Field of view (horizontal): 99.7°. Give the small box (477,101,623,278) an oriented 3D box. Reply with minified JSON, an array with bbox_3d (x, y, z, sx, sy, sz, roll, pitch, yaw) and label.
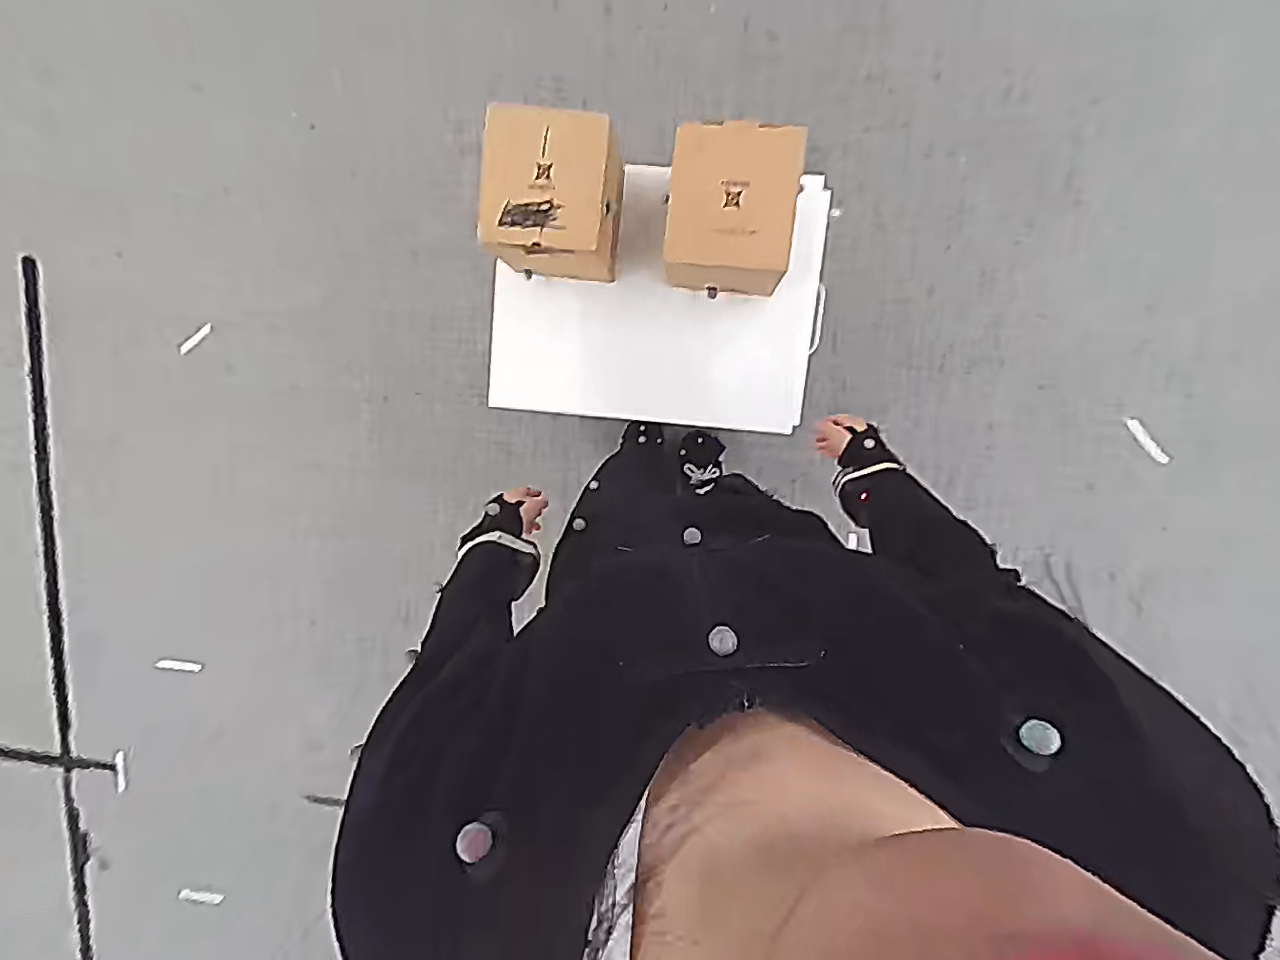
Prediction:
[{"bbox_3d":[-0.120,-0.404,0.782,0.168,0.176,0.179,7,97,4],"label":"small box"}]

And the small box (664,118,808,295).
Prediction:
[{"bbox_3d":[0.128,-0.374,0.766,0.168,0.176,0.179,6,99,6],"label":"small box"}]
